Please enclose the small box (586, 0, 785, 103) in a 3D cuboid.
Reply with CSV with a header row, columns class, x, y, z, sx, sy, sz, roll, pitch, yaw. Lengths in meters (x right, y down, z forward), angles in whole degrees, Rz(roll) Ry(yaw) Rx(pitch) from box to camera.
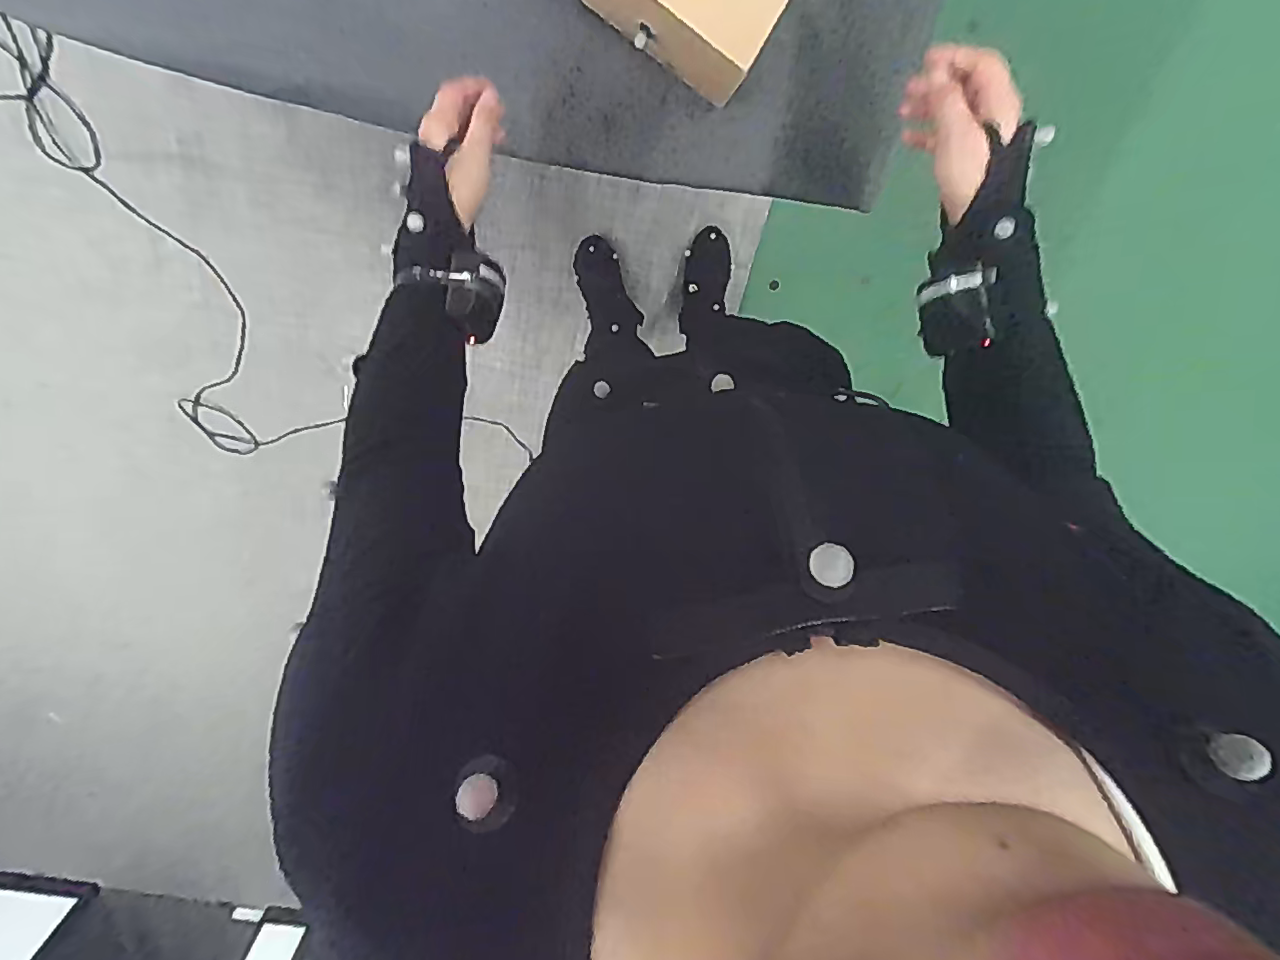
class,x,y,z,sx,sy,sz,roll,pitch,yaw
small box,0.051,-0.434,0.418,0.168,0.176,0.179,30,114,-14
